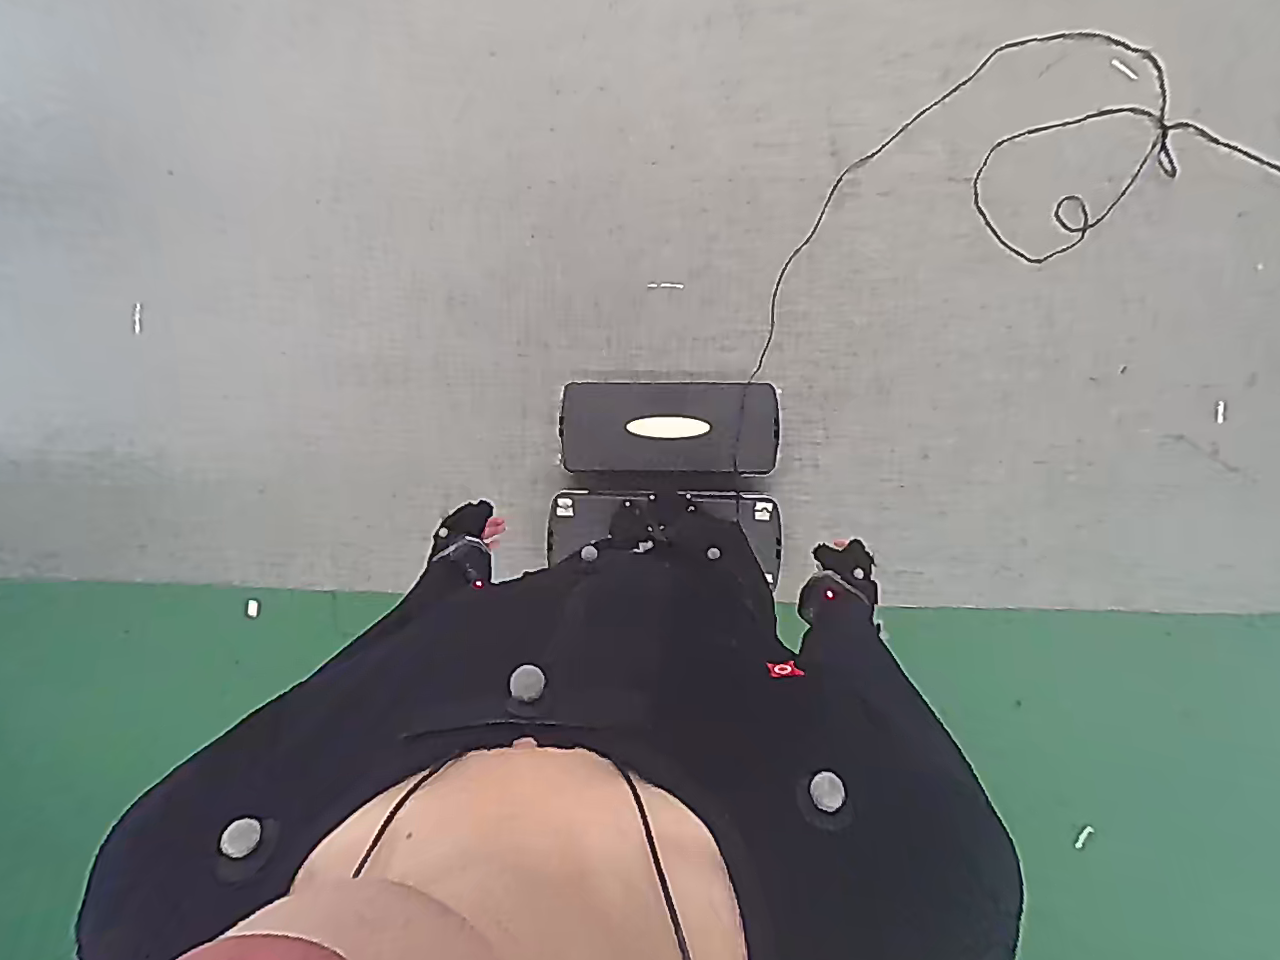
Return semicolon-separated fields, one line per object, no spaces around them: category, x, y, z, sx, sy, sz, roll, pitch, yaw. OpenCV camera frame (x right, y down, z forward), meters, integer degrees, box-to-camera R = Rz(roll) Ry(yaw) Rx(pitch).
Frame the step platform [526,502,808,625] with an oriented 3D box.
step platform;0.066;0.203;1.397;0.684;0.204;0.286;1;89;1
